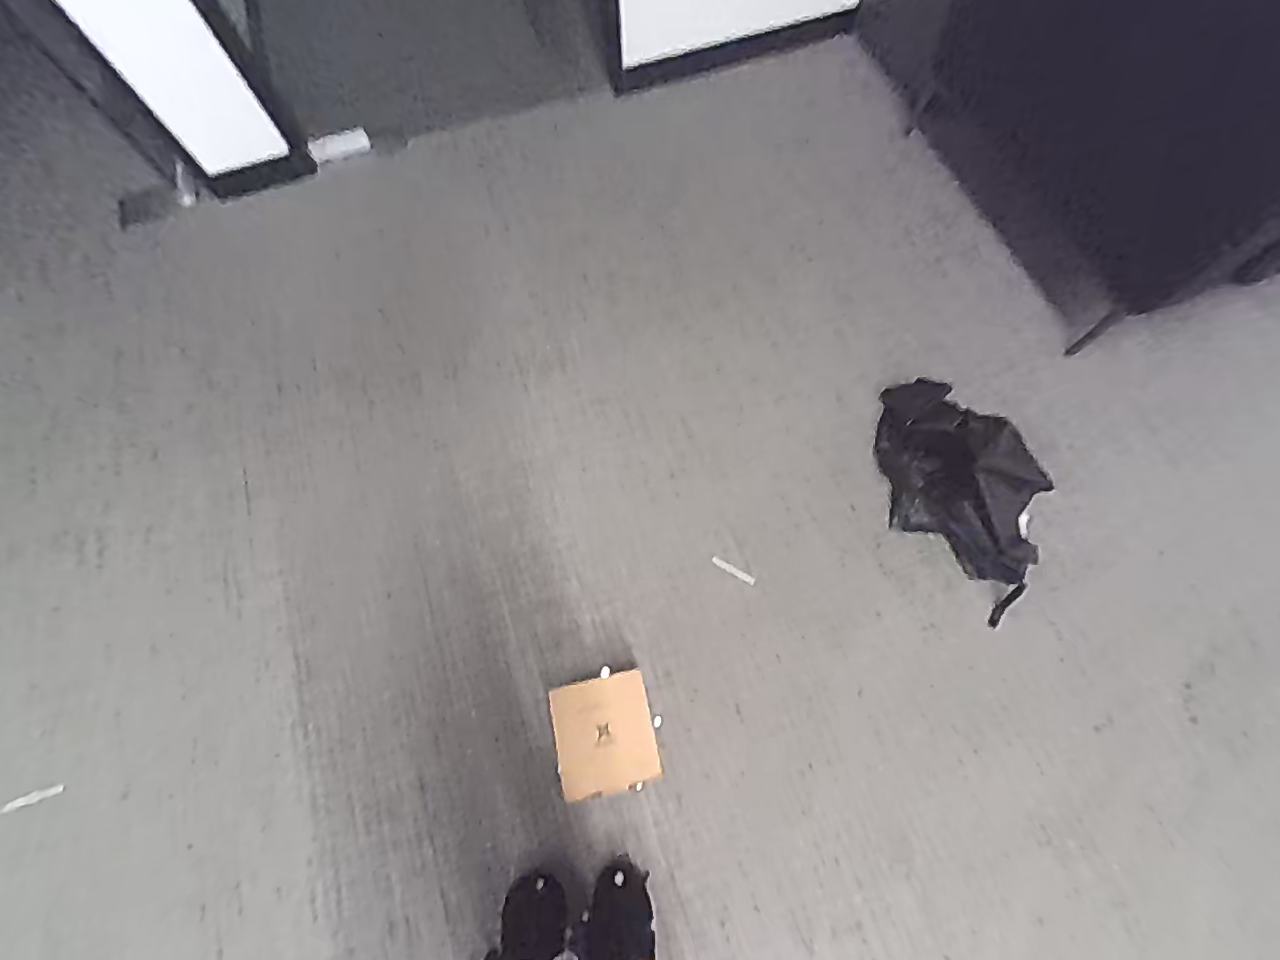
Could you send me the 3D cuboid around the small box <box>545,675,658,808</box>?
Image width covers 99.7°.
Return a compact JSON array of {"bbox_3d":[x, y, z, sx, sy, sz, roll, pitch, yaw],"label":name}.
[{"bbox_3d":[-0.065,0.457,0.969,0.168,0.176,0.179,-12,68,-5],"label":"small box"}]
